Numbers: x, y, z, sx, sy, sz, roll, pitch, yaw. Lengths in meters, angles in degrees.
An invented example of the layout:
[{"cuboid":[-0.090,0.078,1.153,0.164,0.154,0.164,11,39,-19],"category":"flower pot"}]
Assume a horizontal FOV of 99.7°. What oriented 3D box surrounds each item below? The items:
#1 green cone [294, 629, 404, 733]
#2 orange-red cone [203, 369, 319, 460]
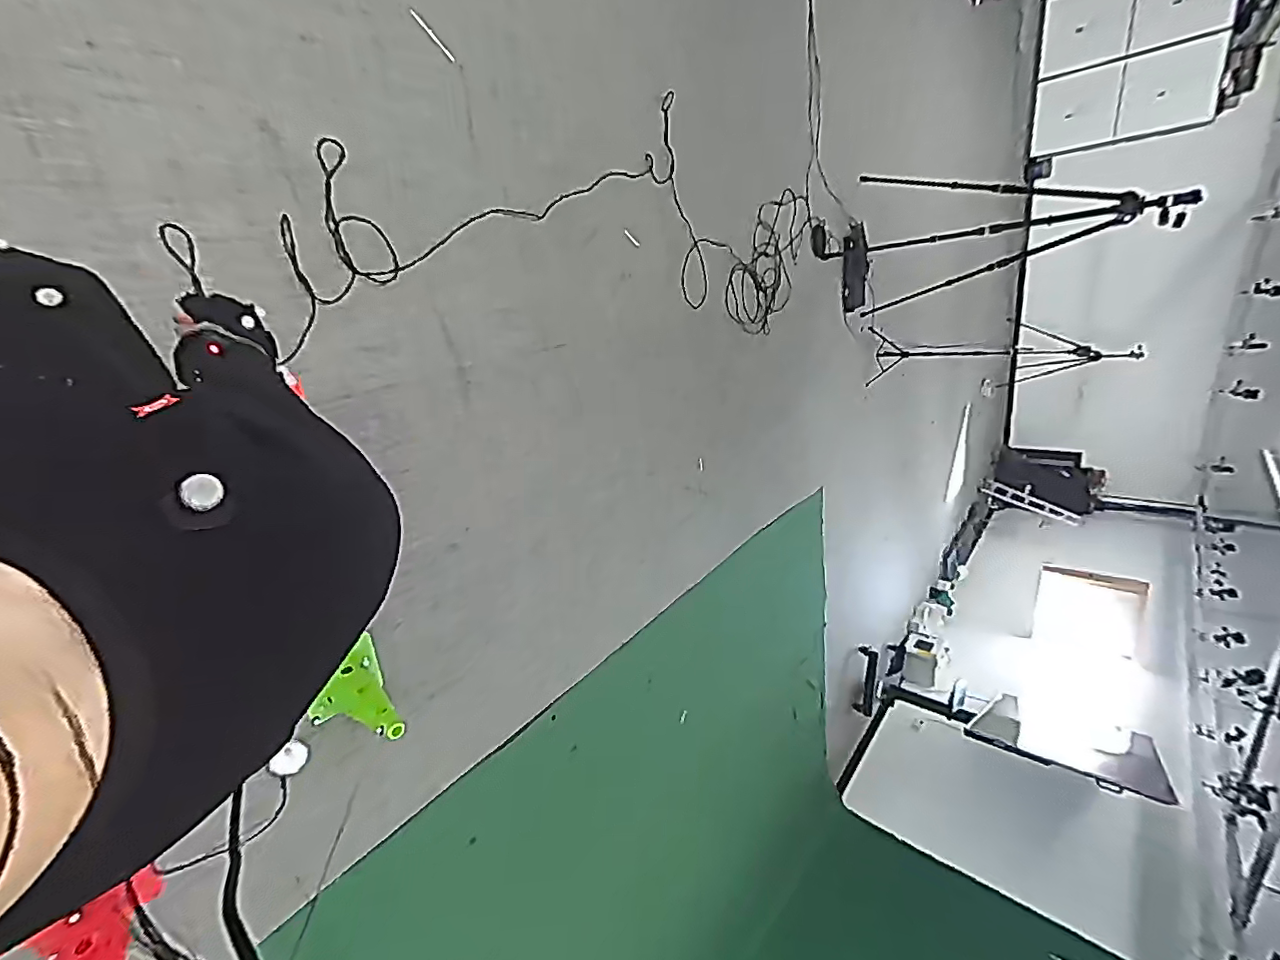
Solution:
[{"cuboid":[-0.706,0.563,1.399,0.200,0.368,0.202,-25,115,-44],"category":"green cone"},{"cuboid":[-0.777,-0.131,1.177,0.198,0.360,0.199,-22,115,-44],"category":"orange-red cone"}]
